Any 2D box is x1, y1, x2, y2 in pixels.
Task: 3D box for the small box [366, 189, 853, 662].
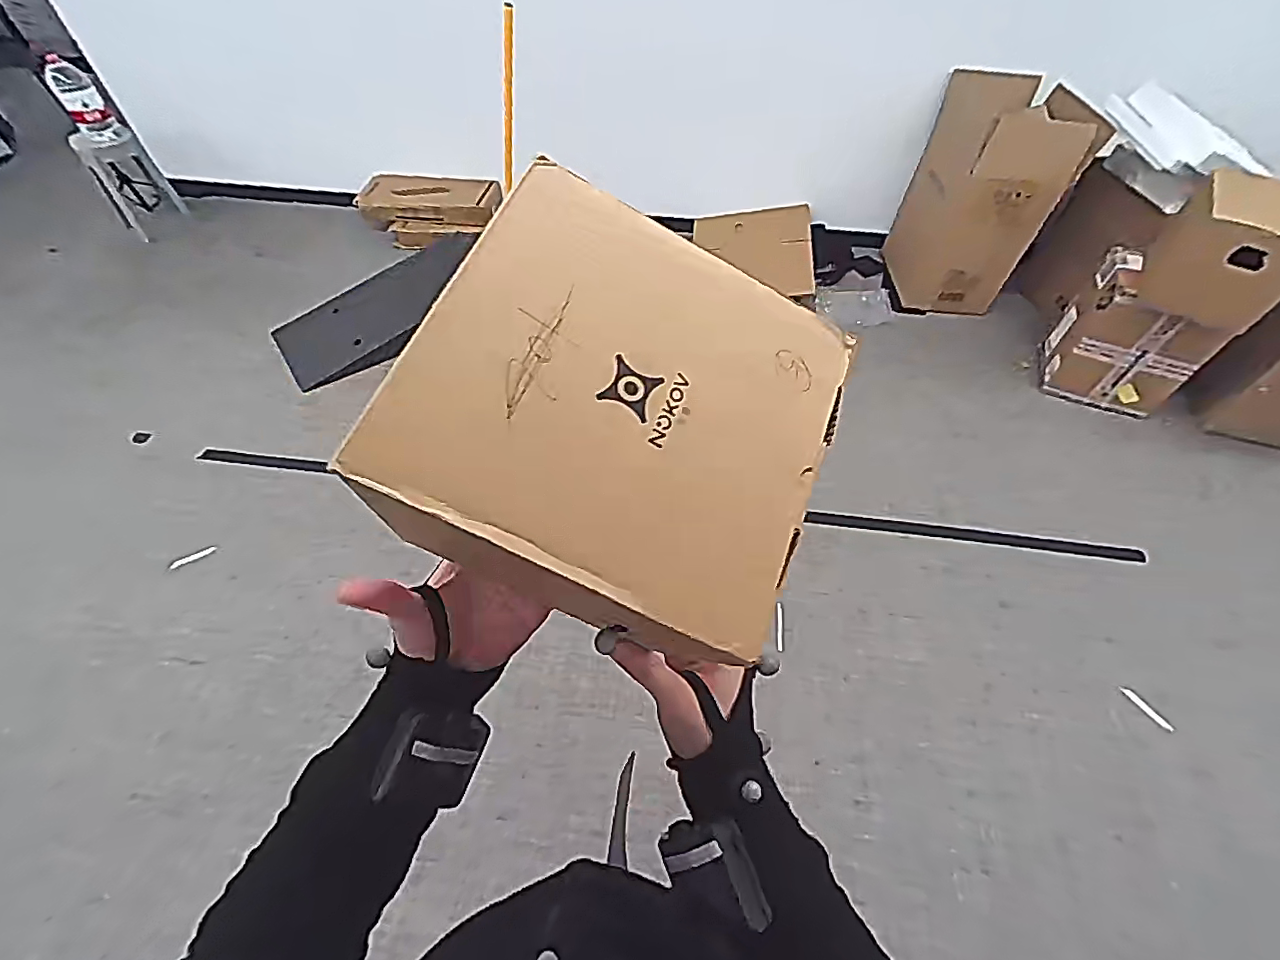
[{"bbox_3d":[-0.017,-0.011,0.312,0.179,0.176,0.168,26,69,-8],"label":"small box"}]
